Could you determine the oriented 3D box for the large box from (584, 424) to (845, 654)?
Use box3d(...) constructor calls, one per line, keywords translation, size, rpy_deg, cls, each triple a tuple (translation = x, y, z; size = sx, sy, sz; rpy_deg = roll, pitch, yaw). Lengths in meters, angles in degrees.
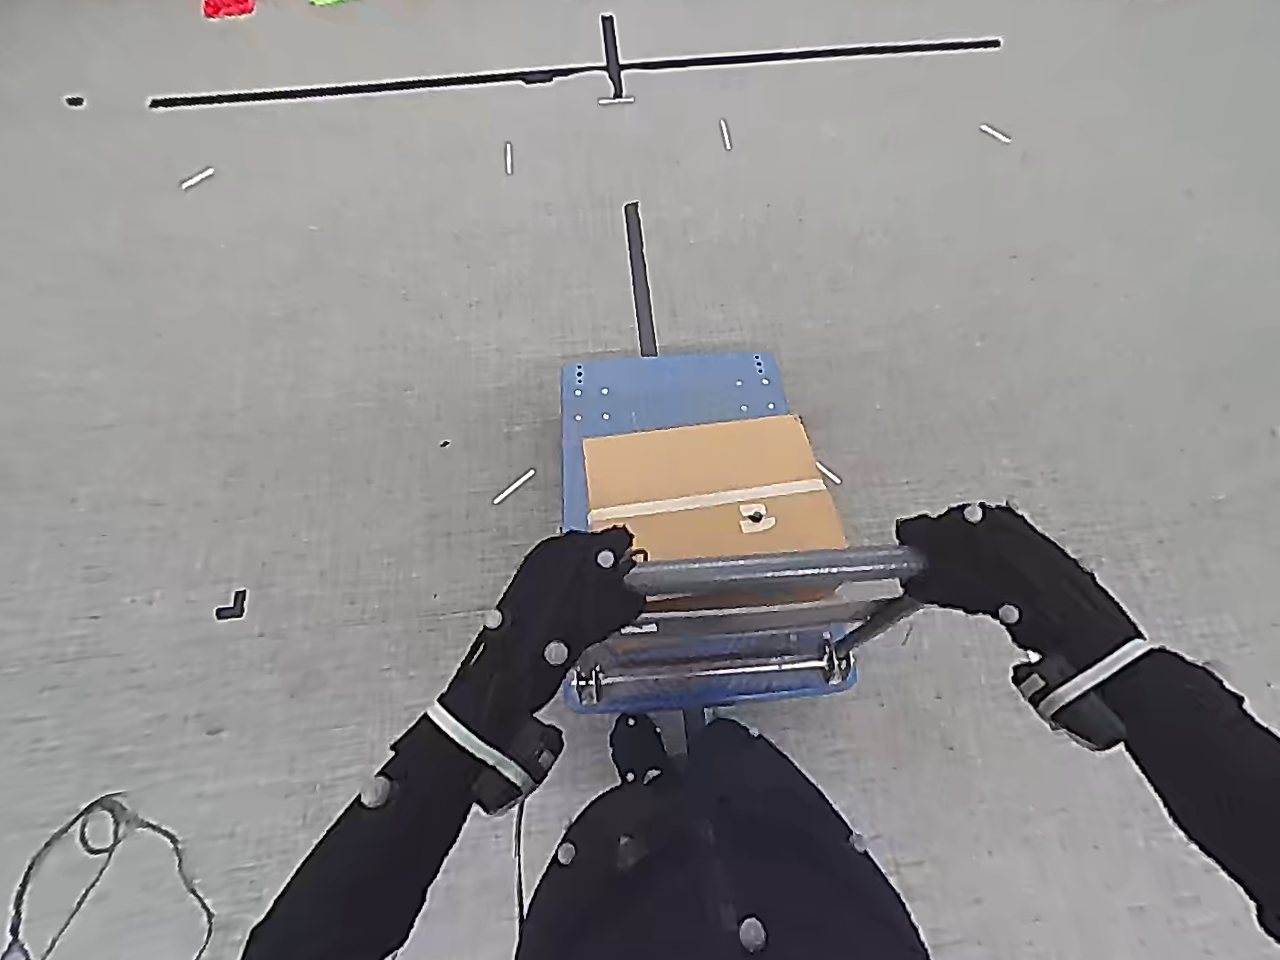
box3d(translation=(0.113, 0.124, 1.060), size=(0.408, 0.320, 0.320), rpy_deg=(-7, 61, -6), cls="large box")
